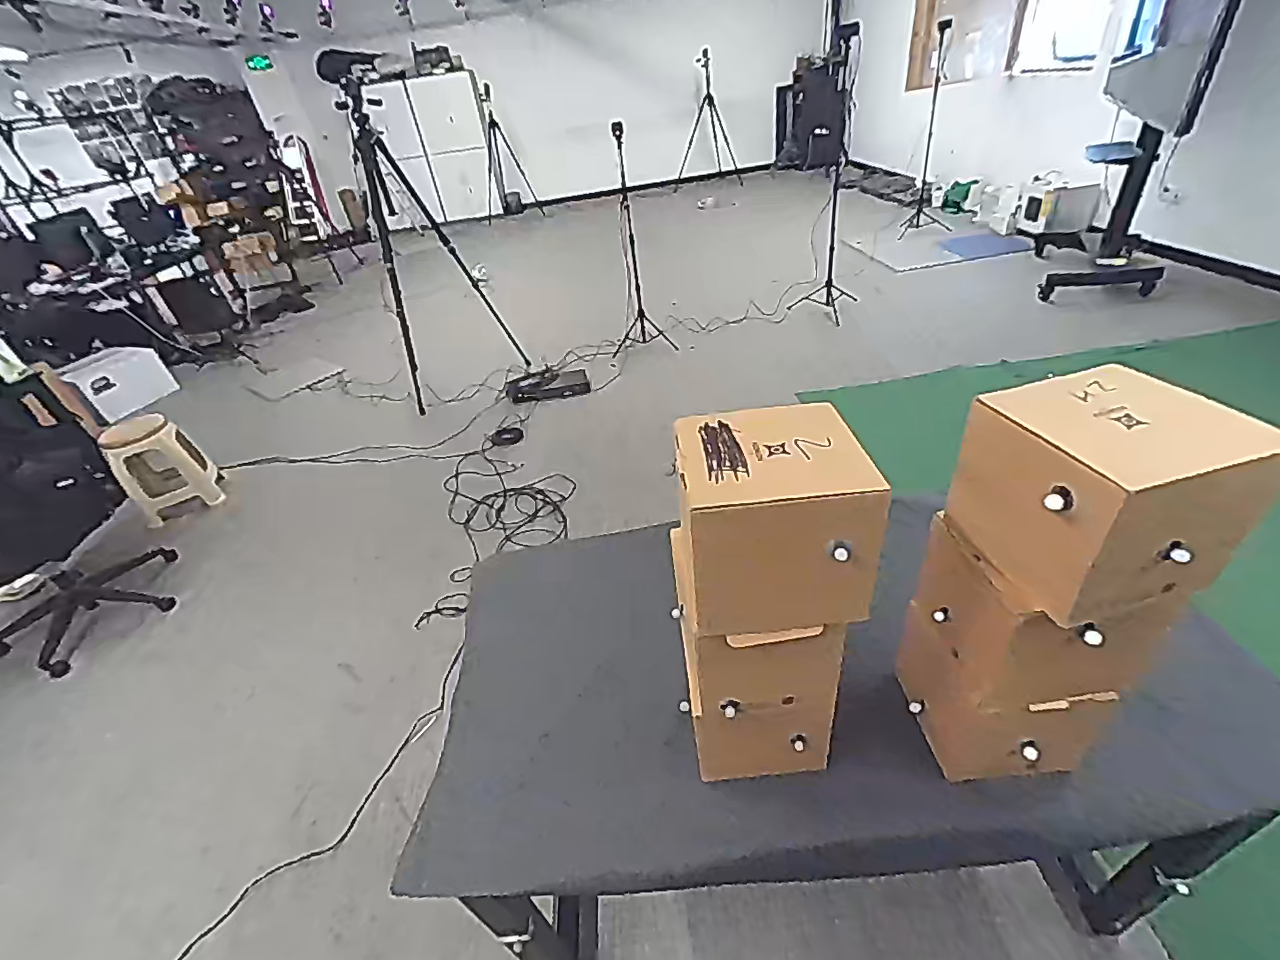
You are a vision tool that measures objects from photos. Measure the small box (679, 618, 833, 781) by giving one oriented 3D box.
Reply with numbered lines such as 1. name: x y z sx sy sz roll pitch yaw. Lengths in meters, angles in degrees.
1. small box: 0.156 0.298 0.766 0.179 0.176 0.168 -9 35 3

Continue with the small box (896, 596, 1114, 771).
1. small box: 0.468 0.269 0.728 0.168 0.176 0.179 -8 36 3

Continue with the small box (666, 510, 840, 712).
1. small box: 0.133 0.166 0.672 0.168 0.176 0.179 -10 34 -1

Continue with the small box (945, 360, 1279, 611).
1. small box: 0.439 0.007 0.532 0.168 0.176 0.179 -14 35 -5

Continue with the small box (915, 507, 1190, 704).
1. small box: 0.454 0.136 0.634 0.179 0.176 0.168 -10 35 2
